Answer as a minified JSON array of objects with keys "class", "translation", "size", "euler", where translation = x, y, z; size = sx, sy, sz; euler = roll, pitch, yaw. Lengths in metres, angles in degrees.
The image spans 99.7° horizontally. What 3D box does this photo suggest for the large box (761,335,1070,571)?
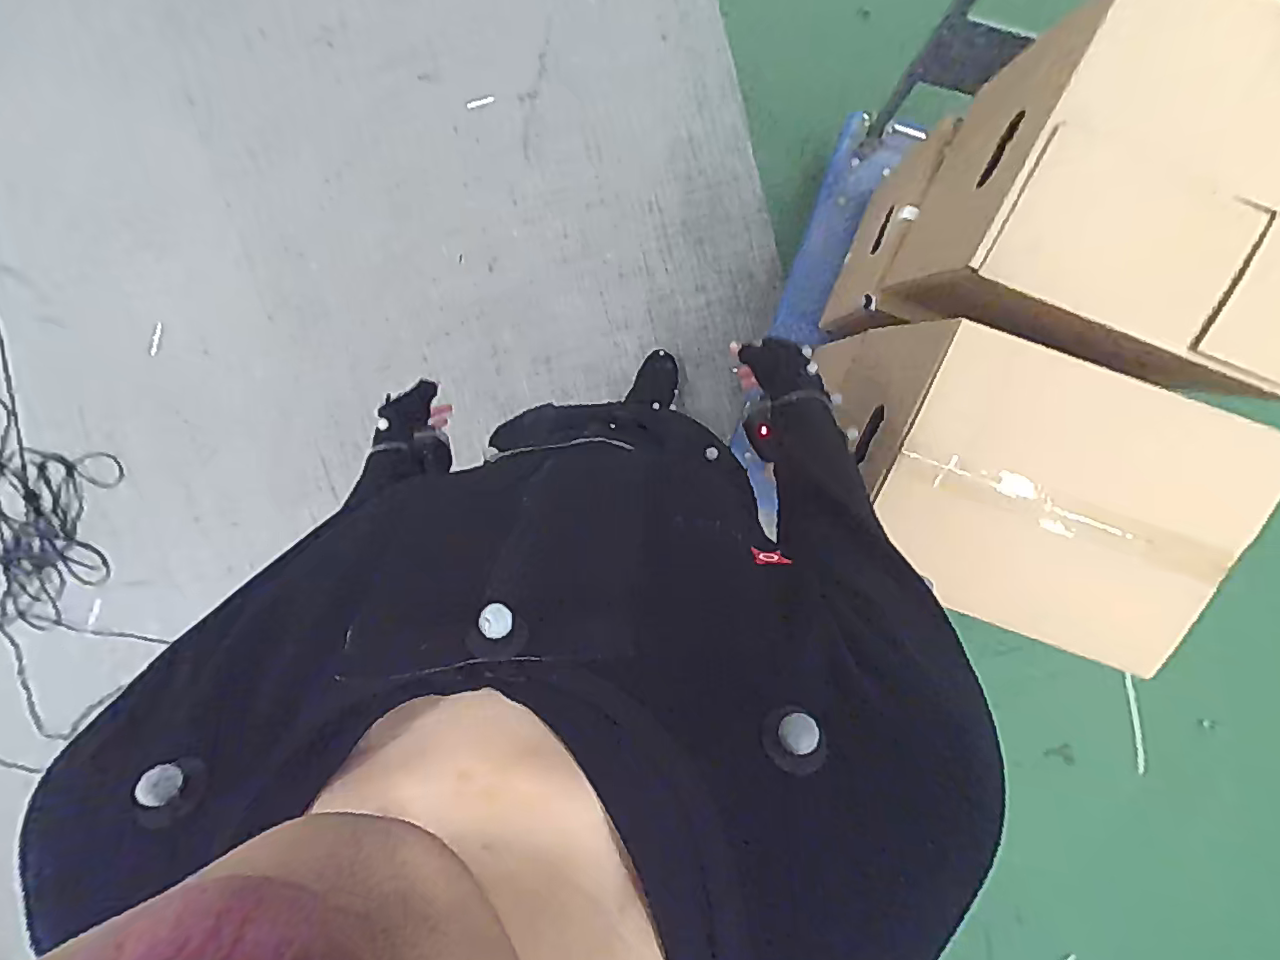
[{"class":"large box","translation":[0.501,-0.064,1.079],"size":[0.408,0.320,0.320],"euler":[20,98,2]}]
